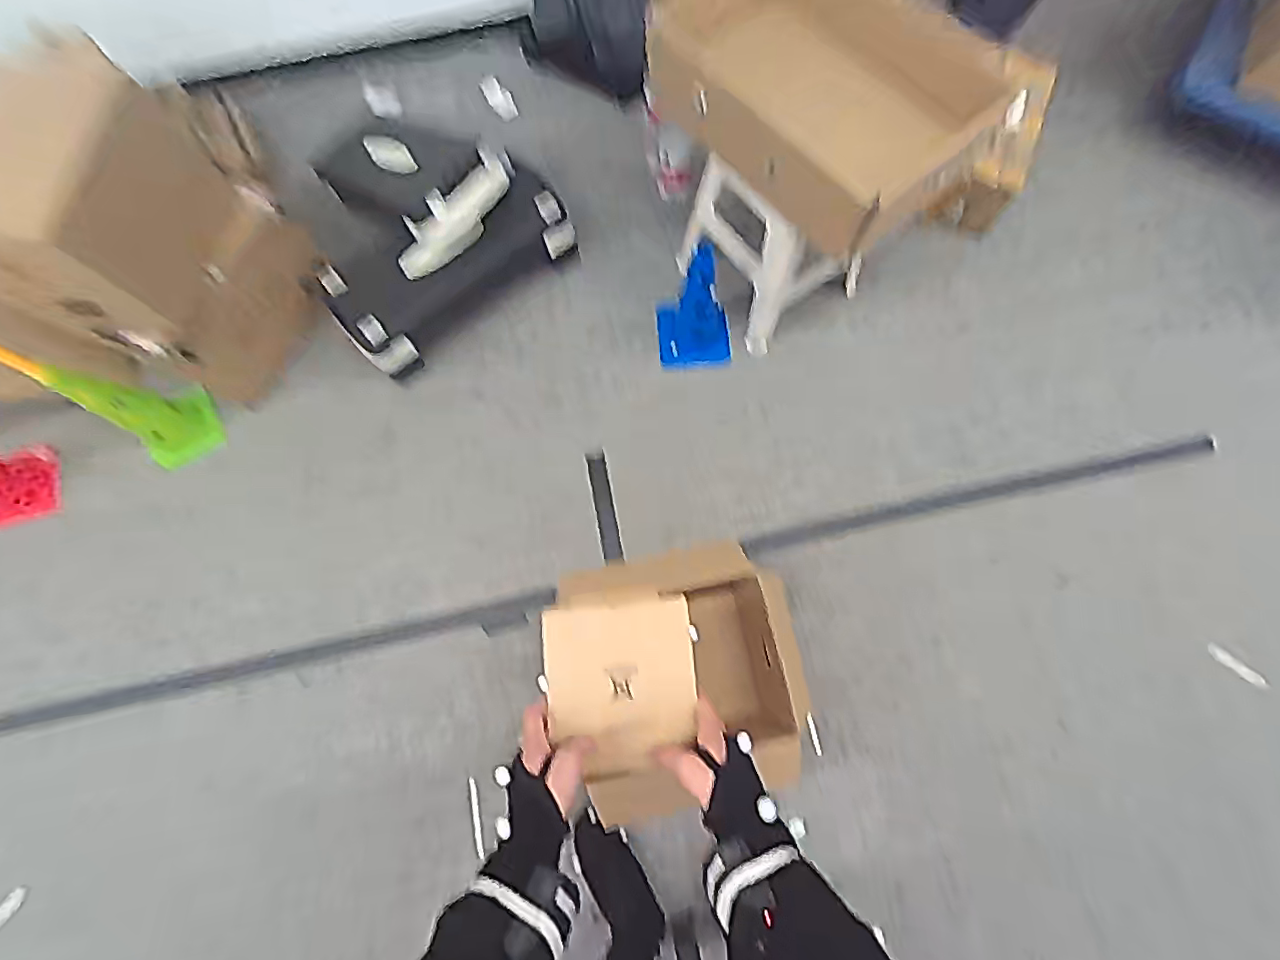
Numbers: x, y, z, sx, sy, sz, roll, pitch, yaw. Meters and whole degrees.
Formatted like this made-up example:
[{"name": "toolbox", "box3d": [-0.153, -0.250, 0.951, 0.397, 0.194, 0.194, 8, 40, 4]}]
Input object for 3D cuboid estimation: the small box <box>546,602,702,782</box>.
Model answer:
[{"name": "small box", "box3d": [-0.023, 0.247, 0.661, 0.168, 0.176, 0.179, -4, 75, -2]}]
